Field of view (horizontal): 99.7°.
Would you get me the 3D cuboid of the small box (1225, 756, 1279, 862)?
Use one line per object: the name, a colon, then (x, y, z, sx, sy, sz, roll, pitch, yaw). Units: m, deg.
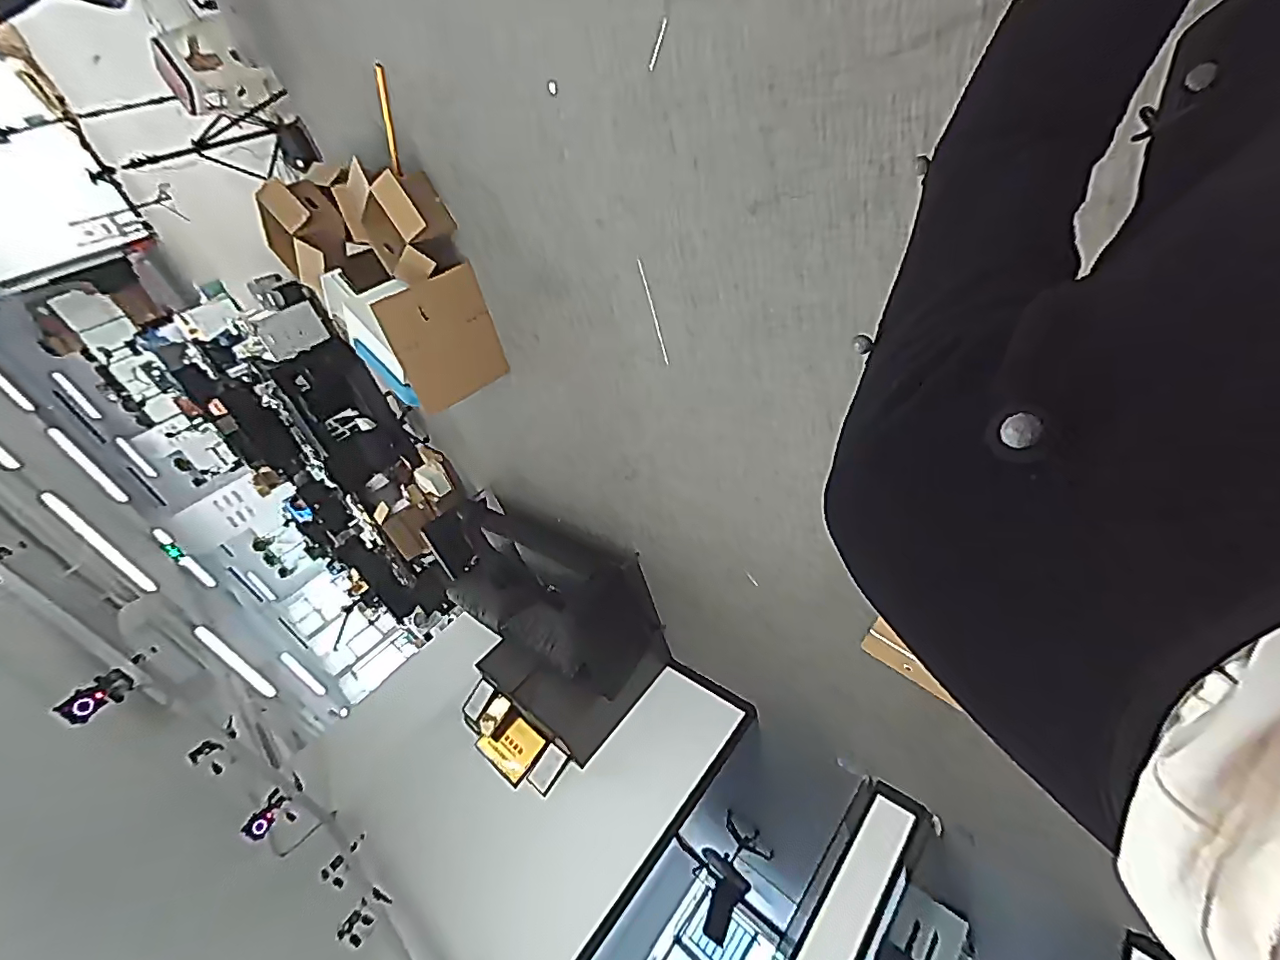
small box: (1.561, 0.793, 1.286, 0.168, 0.176, 0.179, 53, 149, -5)

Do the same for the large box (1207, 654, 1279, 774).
large box: (1.774, 0.660, 1.353, 0.320, 0.320, 0.408, 51, 149, -6)
